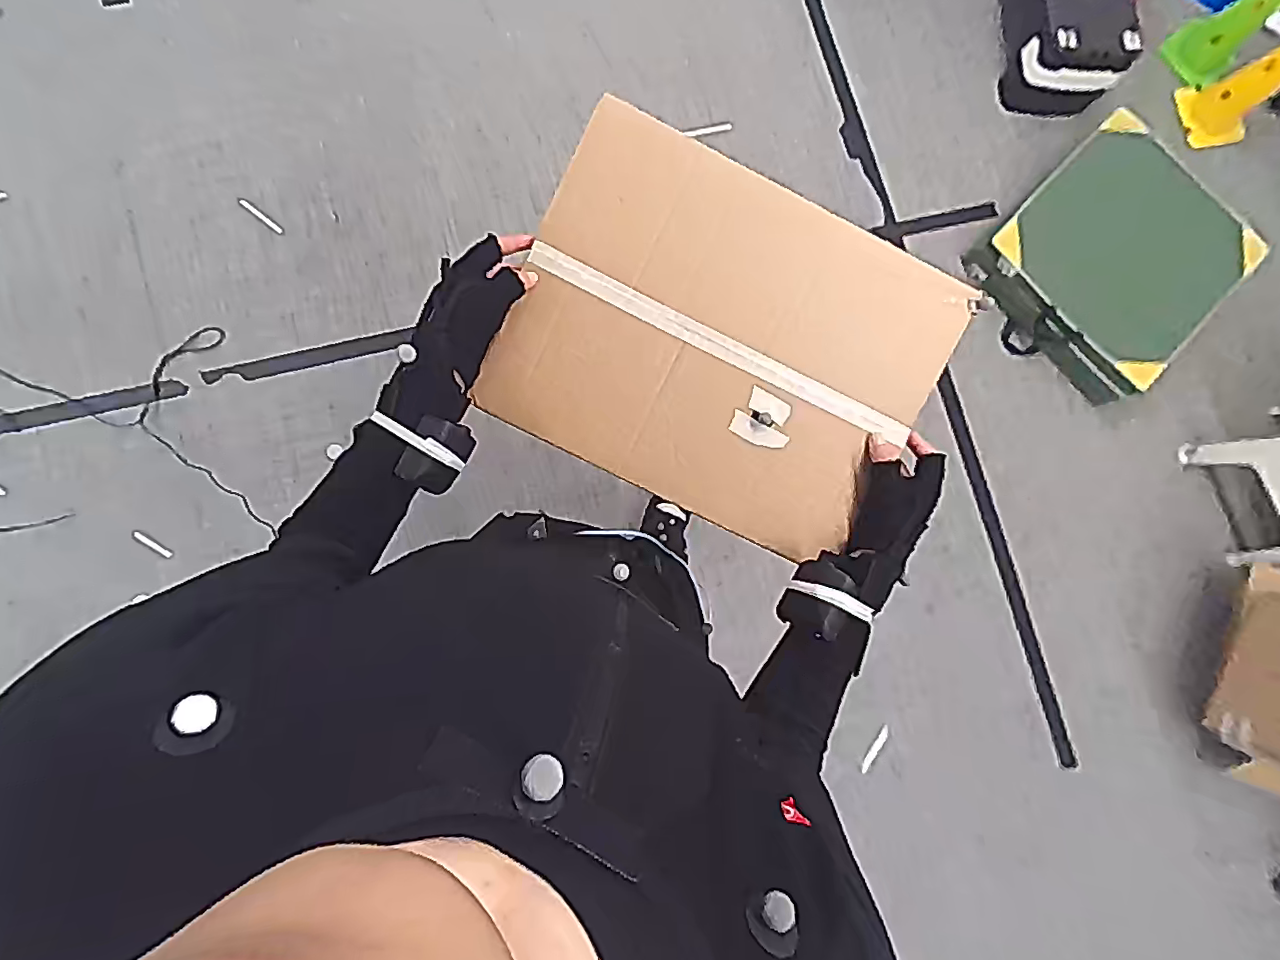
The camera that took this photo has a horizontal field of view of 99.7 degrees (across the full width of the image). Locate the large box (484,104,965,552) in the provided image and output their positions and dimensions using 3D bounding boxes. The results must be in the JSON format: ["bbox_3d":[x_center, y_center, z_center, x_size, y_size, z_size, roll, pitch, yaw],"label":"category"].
[{"bbox_3d":[0.079,-0.157,0.686,0.408,0.320,0.320,26,96,-4],"label":"large box"}]
